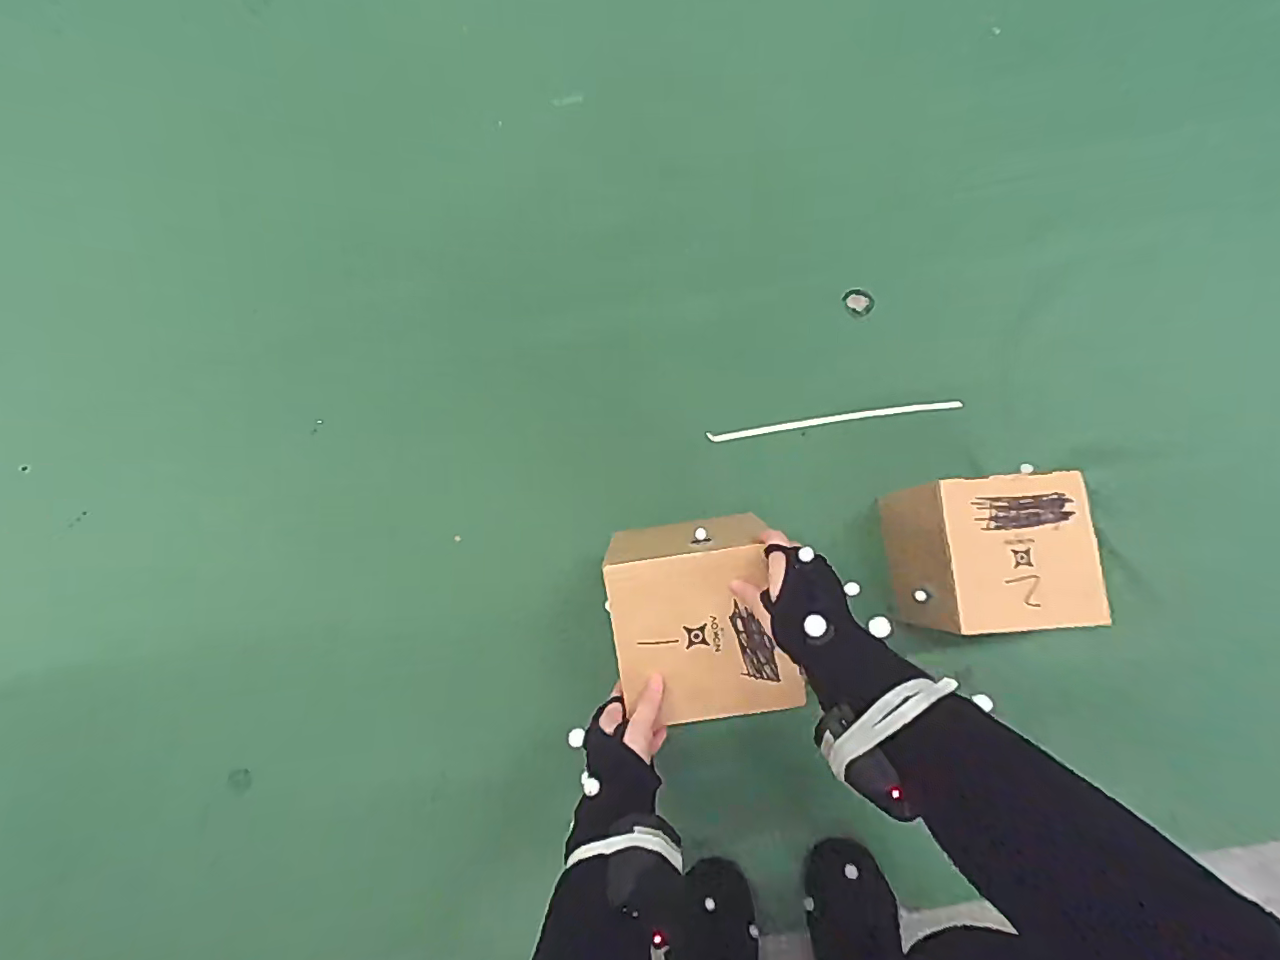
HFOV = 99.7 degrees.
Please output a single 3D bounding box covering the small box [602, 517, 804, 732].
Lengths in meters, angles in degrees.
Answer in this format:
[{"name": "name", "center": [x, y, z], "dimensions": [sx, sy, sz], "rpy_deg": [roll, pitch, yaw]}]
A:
[{"name": "small box", "center": [0.062, 0.142, 0.589], "dimensions": [0.179, 0.176, 0.168], "rpy_deg": [-9, 96, 3]}]
